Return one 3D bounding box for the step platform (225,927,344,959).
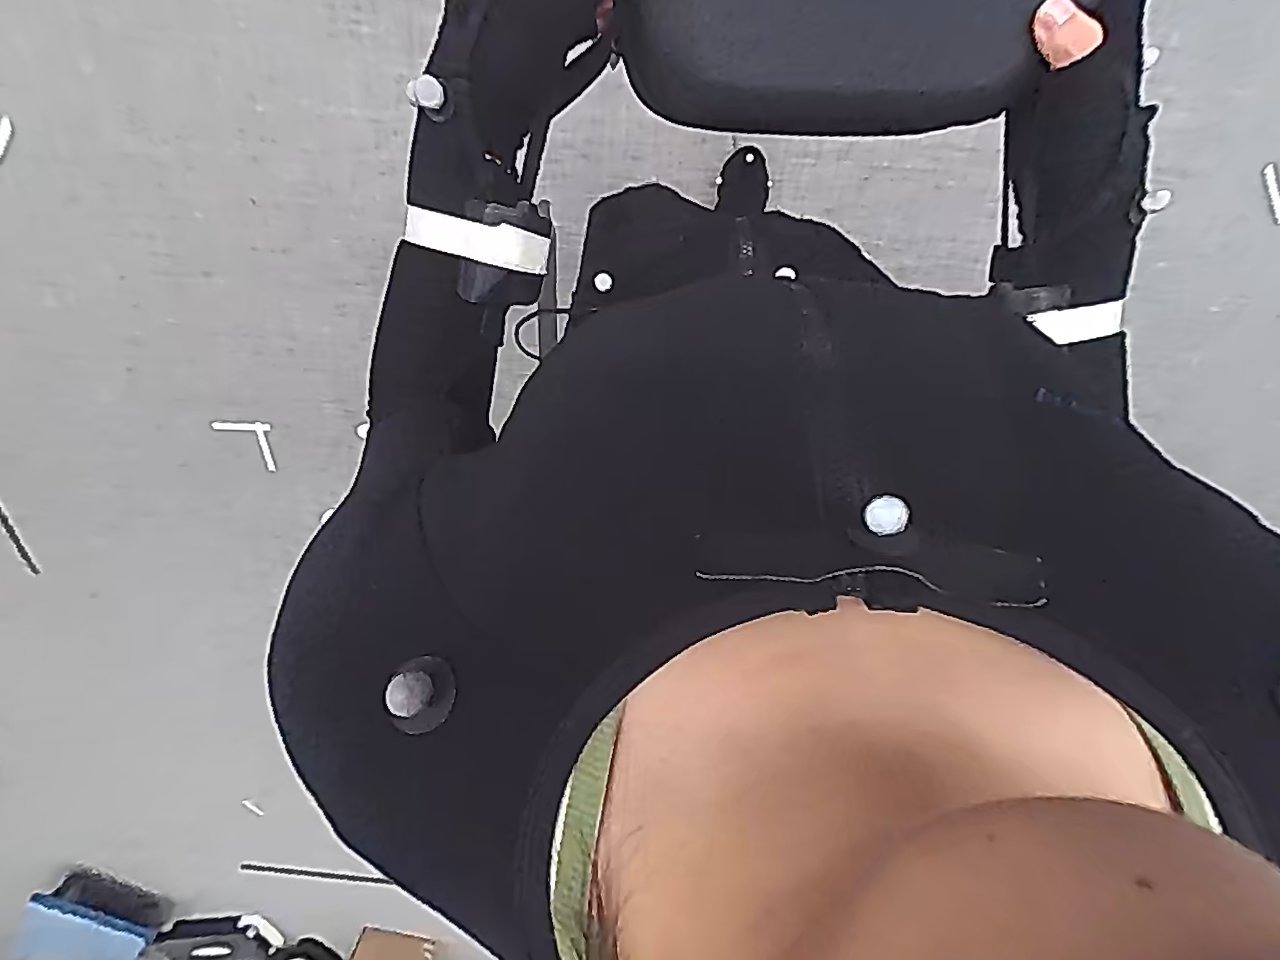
[{"bbox_3d":[-2.064,2.773,3.082,0.684,0.204,0.286,-23,114,14],"label":"step platform"}]
